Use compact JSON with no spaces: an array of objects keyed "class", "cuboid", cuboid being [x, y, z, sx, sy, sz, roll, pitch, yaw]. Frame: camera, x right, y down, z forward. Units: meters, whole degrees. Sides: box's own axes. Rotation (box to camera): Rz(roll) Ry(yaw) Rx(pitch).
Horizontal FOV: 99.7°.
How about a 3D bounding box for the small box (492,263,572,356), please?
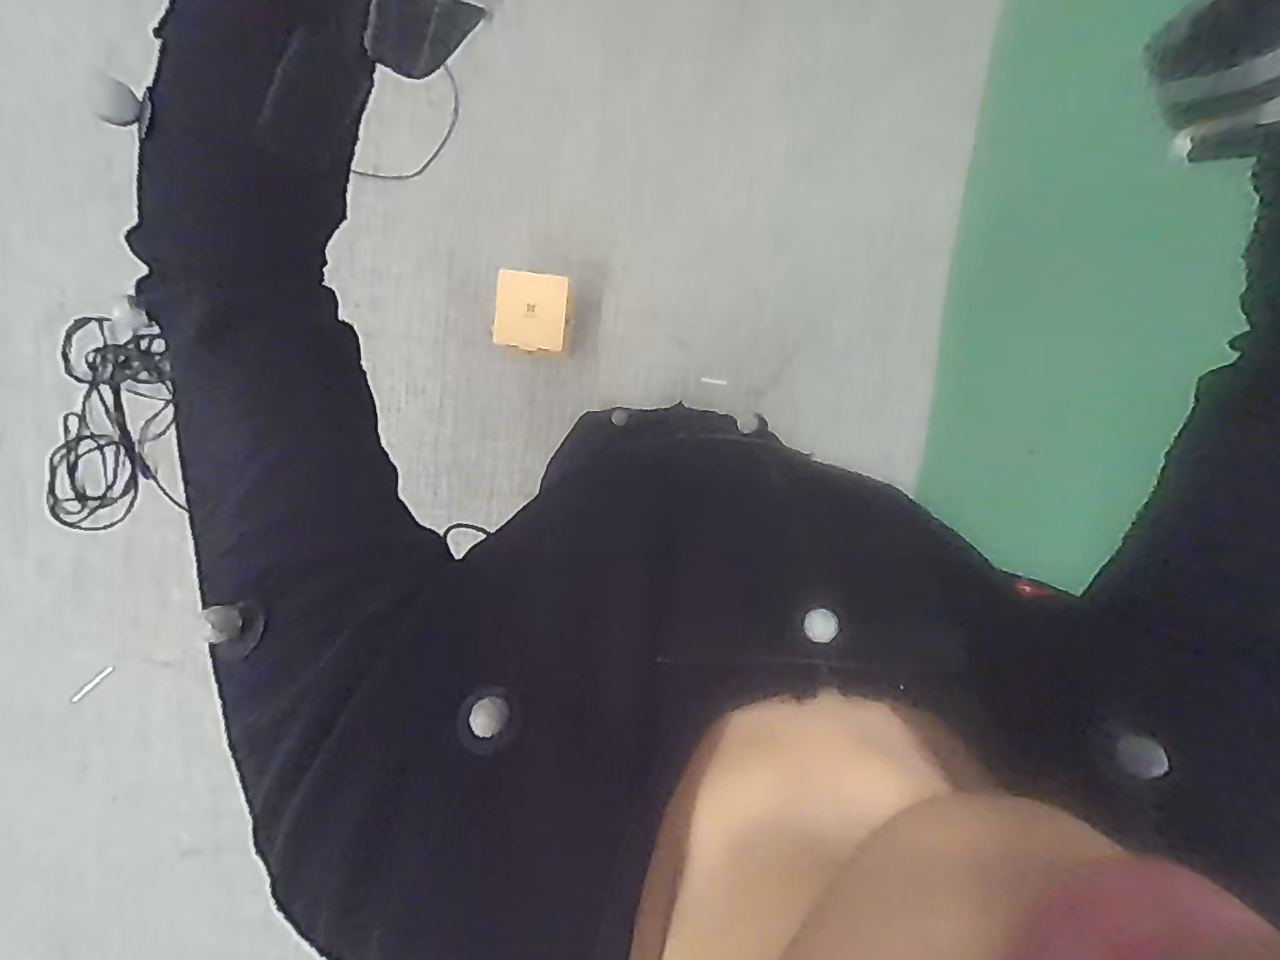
[{"class":"small box","cuboid":[-0.261,-0.415,1.341,0.168,0.176,0.179,6,95,-3]}]
